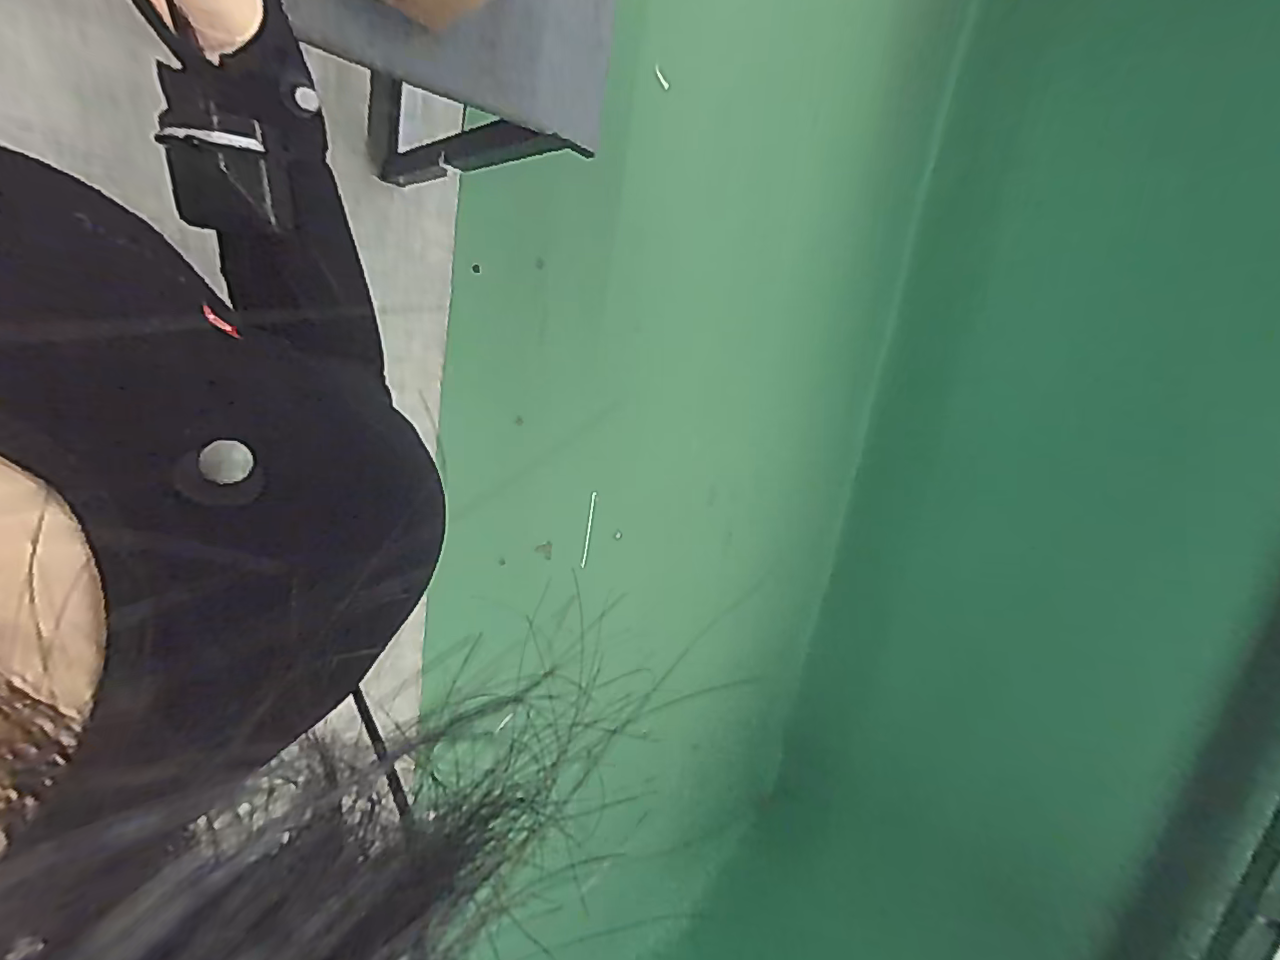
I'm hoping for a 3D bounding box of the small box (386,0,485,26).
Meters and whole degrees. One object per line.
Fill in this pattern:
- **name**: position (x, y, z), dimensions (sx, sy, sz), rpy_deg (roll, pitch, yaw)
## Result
- **small box**: position (-0.236, -0.624, 0.550), dimensions (0.168, 0.176, 0.179), rpy_deg (-1, 105, -46)
